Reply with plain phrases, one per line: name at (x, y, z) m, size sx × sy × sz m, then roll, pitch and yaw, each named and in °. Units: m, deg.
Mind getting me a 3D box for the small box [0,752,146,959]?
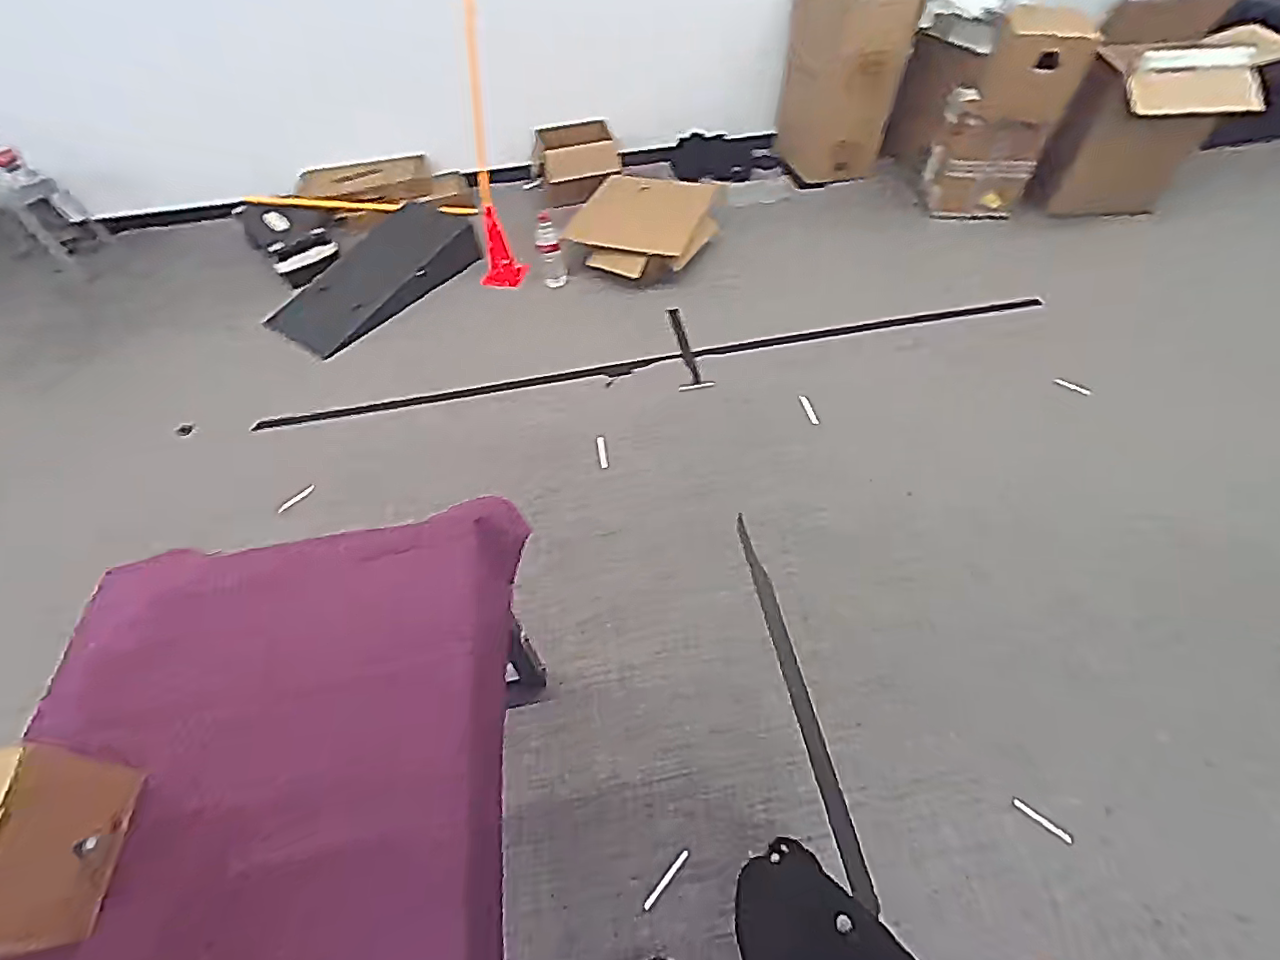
small box at (-0.708, 0.413, 0.580) m, size 0.179 × 0.176 × 0.168 m, roll -9°, pitch 53°, yaw -5°
